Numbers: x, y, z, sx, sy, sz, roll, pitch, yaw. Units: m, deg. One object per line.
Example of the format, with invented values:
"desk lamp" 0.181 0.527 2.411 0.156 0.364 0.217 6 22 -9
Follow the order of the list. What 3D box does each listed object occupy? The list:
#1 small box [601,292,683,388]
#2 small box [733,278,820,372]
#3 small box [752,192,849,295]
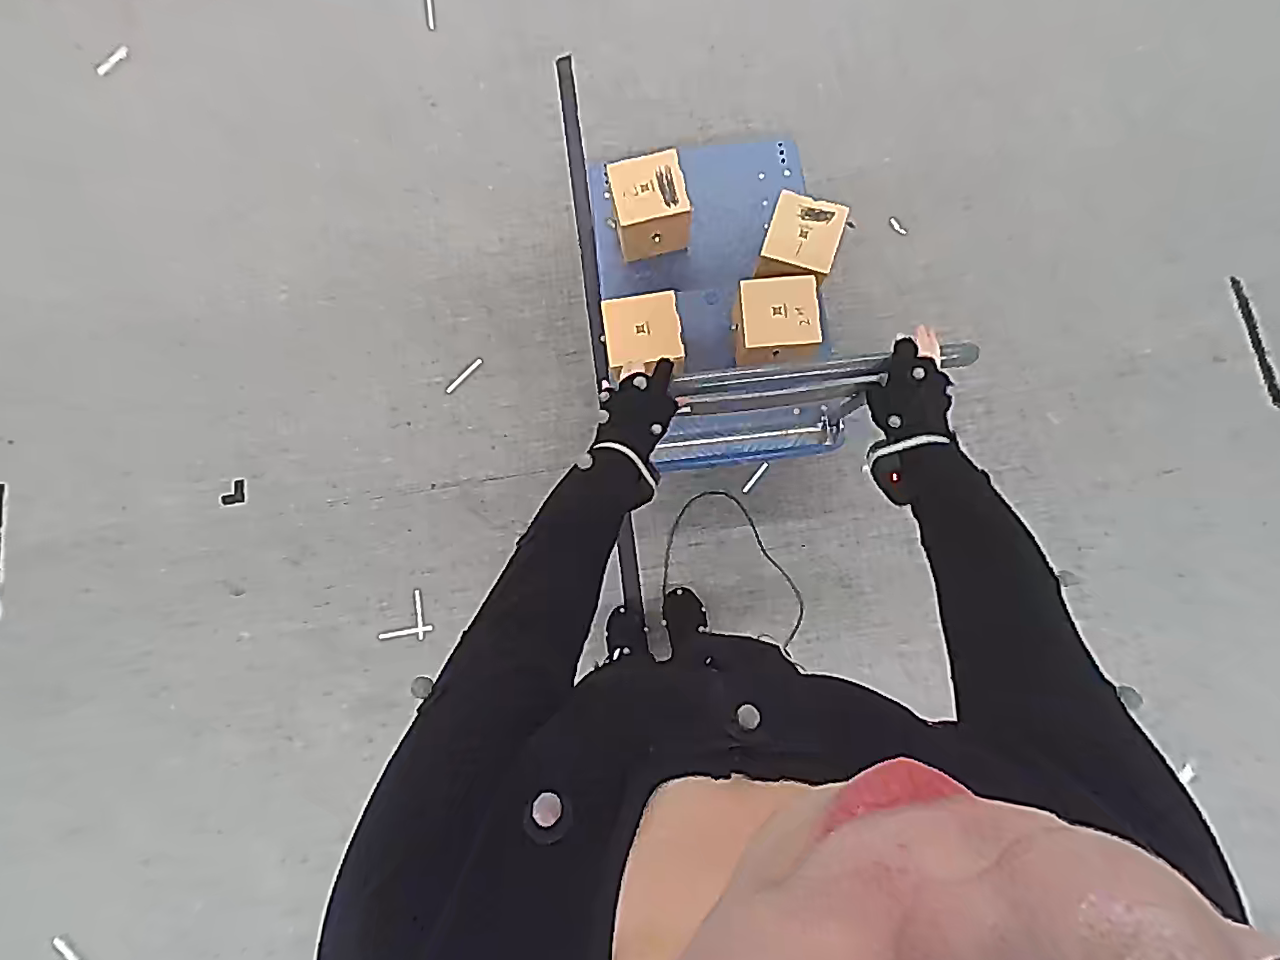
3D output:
"small box" 0.007 -0.334 1.324 0.179 0.176 0.168 -8 82 0
"small box" 0.322 -0.368 1.311 0.179 0.176 0.168 -3 82 3
"small box" 0.387 -0.562 1.335 0.168 0.176 0.179 19 84 6
